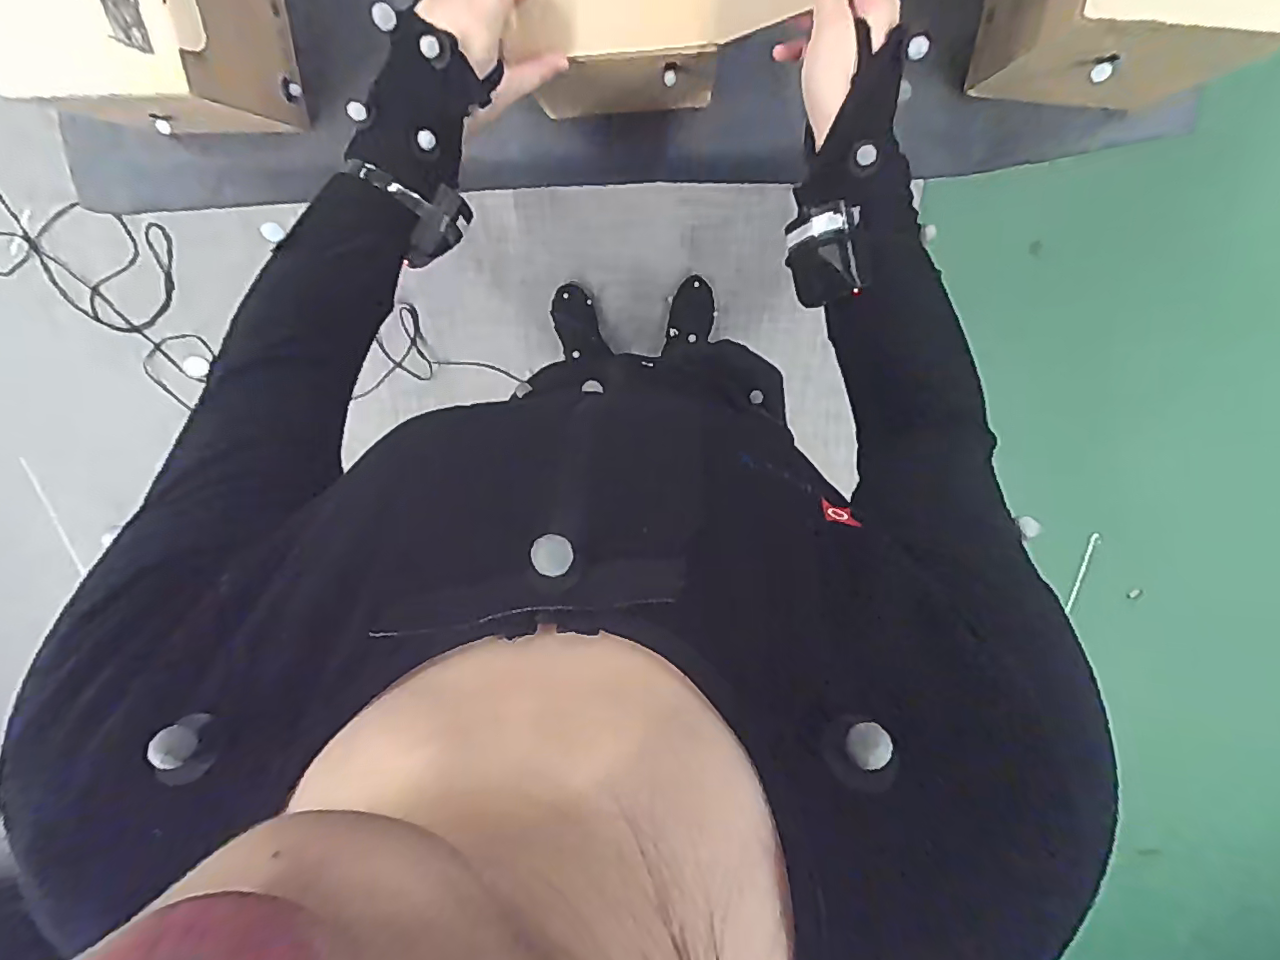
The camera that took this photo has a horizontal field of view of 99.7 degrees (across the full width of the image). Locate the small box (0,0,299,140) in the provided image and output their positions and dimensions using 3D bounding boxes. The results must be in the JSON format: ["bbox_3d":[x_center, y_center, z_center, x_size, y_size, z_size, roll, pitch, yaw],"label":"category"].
[{"bbox_3d":[-0.456,-0.428,0.505,0.179,0.176,0.168,1,114,3],"label":"small box"}]

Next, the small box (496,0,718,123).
[{"bbox_3d":[-0.024,-0.436,0.480,0.179,0.176,0.168,-2,111,4],"label":"small box"}]
